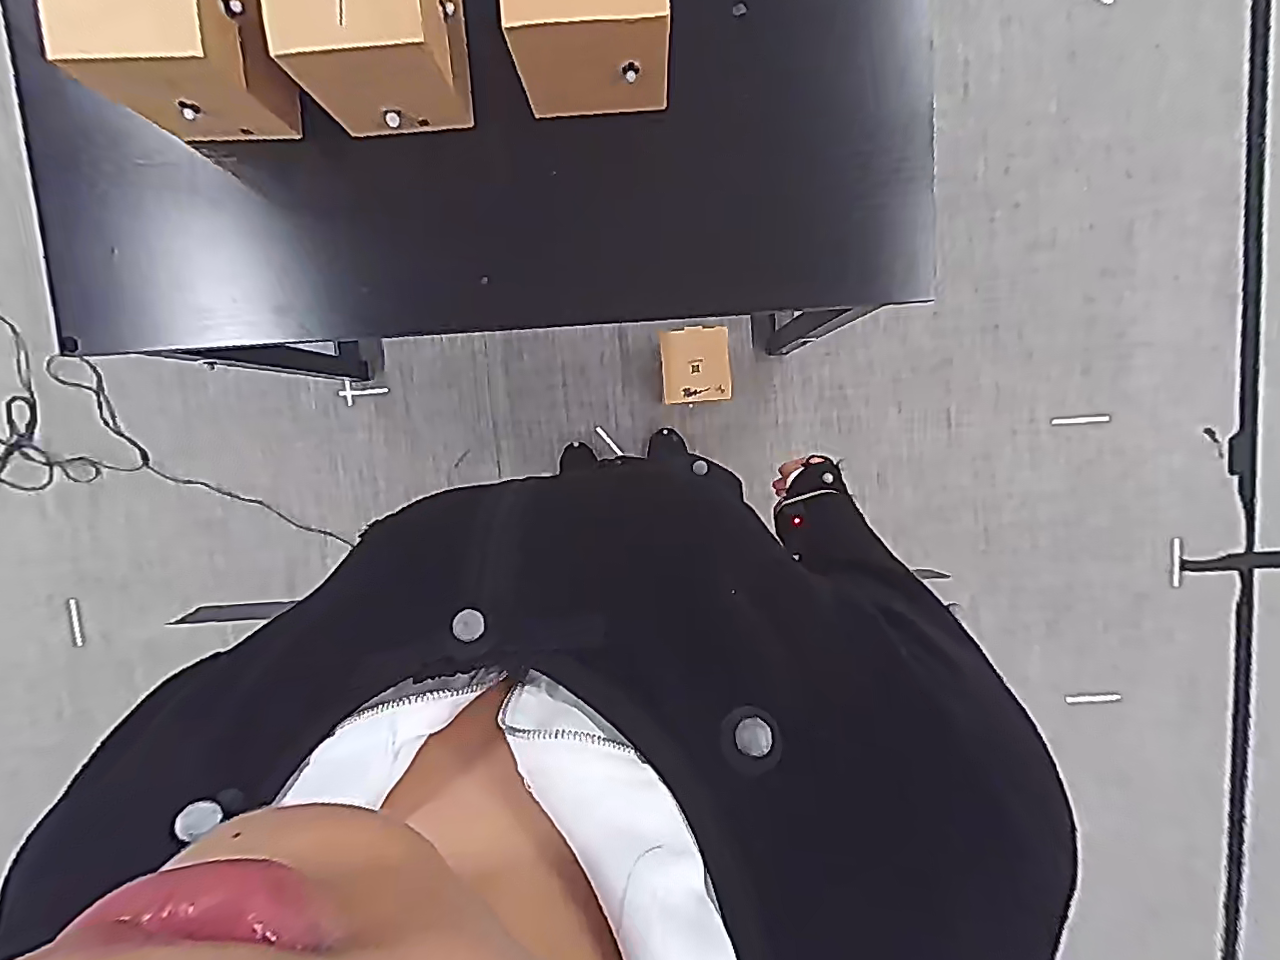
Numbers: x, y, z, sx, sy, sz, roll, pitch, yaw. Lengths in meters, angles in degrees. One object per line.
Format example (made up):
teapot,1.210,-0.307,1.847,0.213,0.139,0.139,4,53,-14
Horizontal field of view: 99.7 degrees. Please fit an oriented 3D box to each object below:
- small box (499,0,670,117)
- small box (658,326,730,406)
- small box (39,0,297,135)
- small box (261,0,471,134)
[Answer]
small box,-0.060,-0.556,0.625,0.179,0.176,0.168,-3,95,2
small box,0.133,-0.286,1.381,0.168,0.176,0.179,-4,95,2
small box,-0.532,-0.531,0.630,0.168,0.176,0.179,-1,96,0
small box,-0.307,-0.540,0.628,0.168,0.176,0.179,-4,97,1
